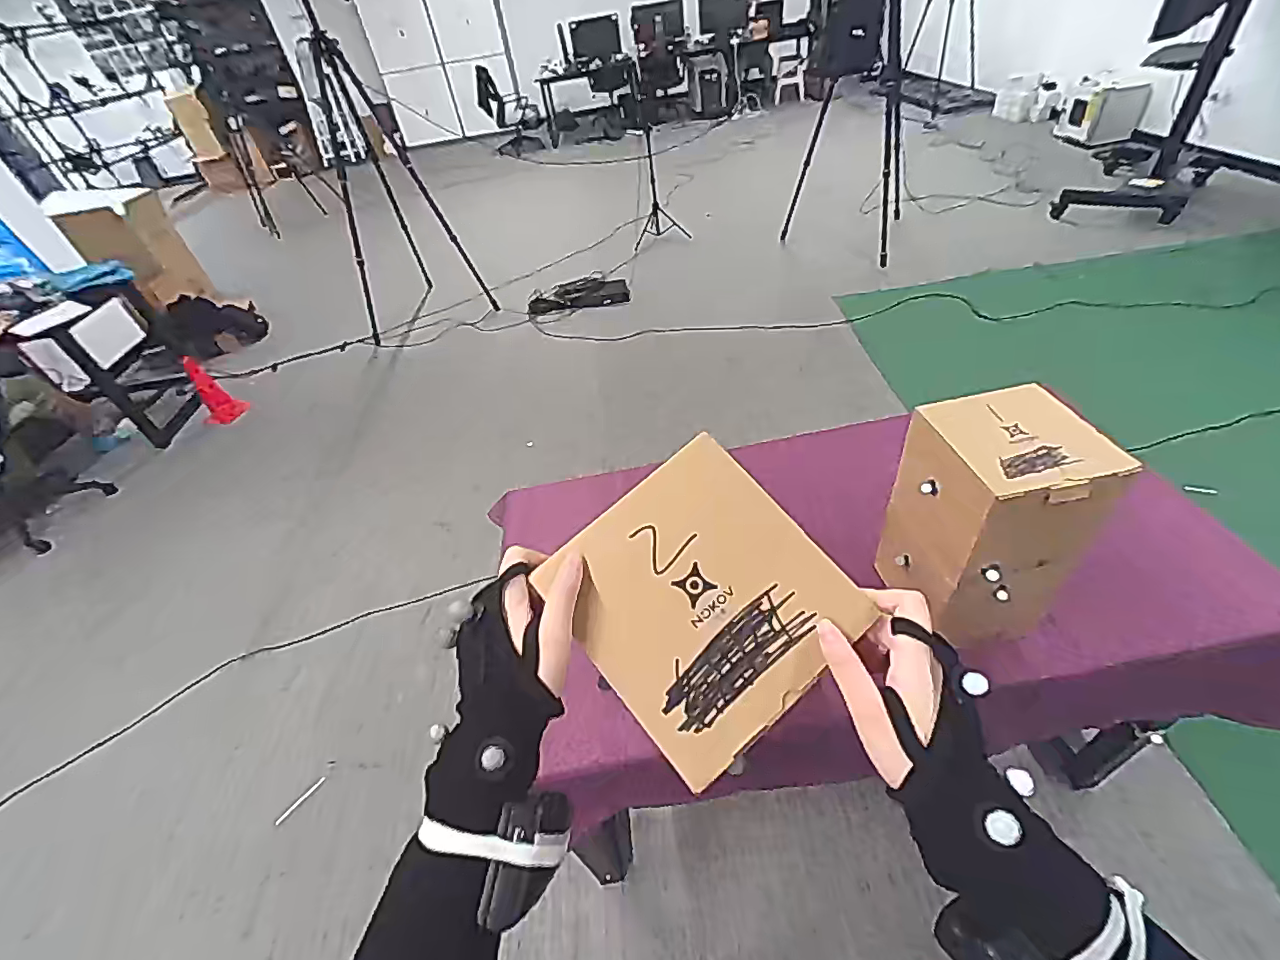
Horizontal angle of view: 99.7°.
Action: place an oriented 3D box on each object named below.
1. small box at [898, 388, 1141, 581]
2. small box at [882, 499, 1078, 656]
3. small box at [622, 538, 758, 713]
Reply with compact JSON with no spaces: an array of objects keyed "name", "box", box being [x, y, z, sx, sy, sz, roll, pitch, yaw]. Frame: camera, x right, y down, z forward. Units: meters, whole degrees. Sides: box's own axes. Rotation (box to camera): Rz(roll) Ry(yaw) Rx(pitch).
[{"name":"small box","box":[0.460,0.011,0.694,0.168,0.176,0.179,-11,42,-1]},{"name":"small box","box":[0.482,0.131,0.804,0.168,0.176,0.179,-12,41,1]},{"name":"small box","box":[0.071,0.216,0.803,0.168,0.176,0.179,-11,43,1]}]
